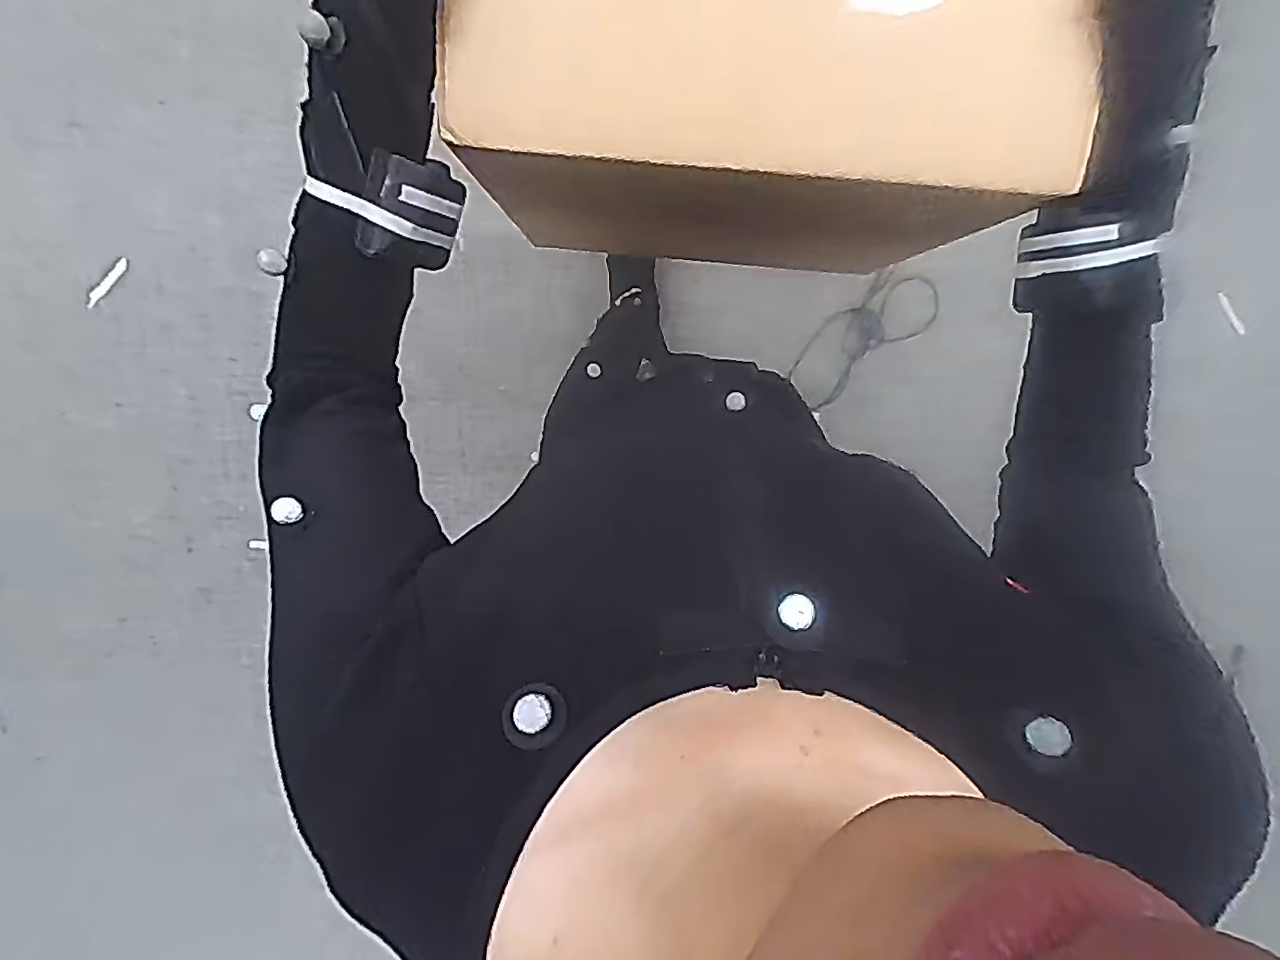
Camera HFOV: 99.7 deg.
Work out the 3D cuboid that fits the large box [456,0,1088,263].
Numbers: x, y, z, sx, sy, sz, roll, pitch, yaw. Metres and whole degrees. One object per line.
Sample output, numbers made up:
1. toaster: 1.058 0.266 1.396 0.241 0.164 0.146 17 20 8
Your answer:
1. large box: 0.082 -0.389 0.470 0.408 0.320 0.320 3 102 -2
